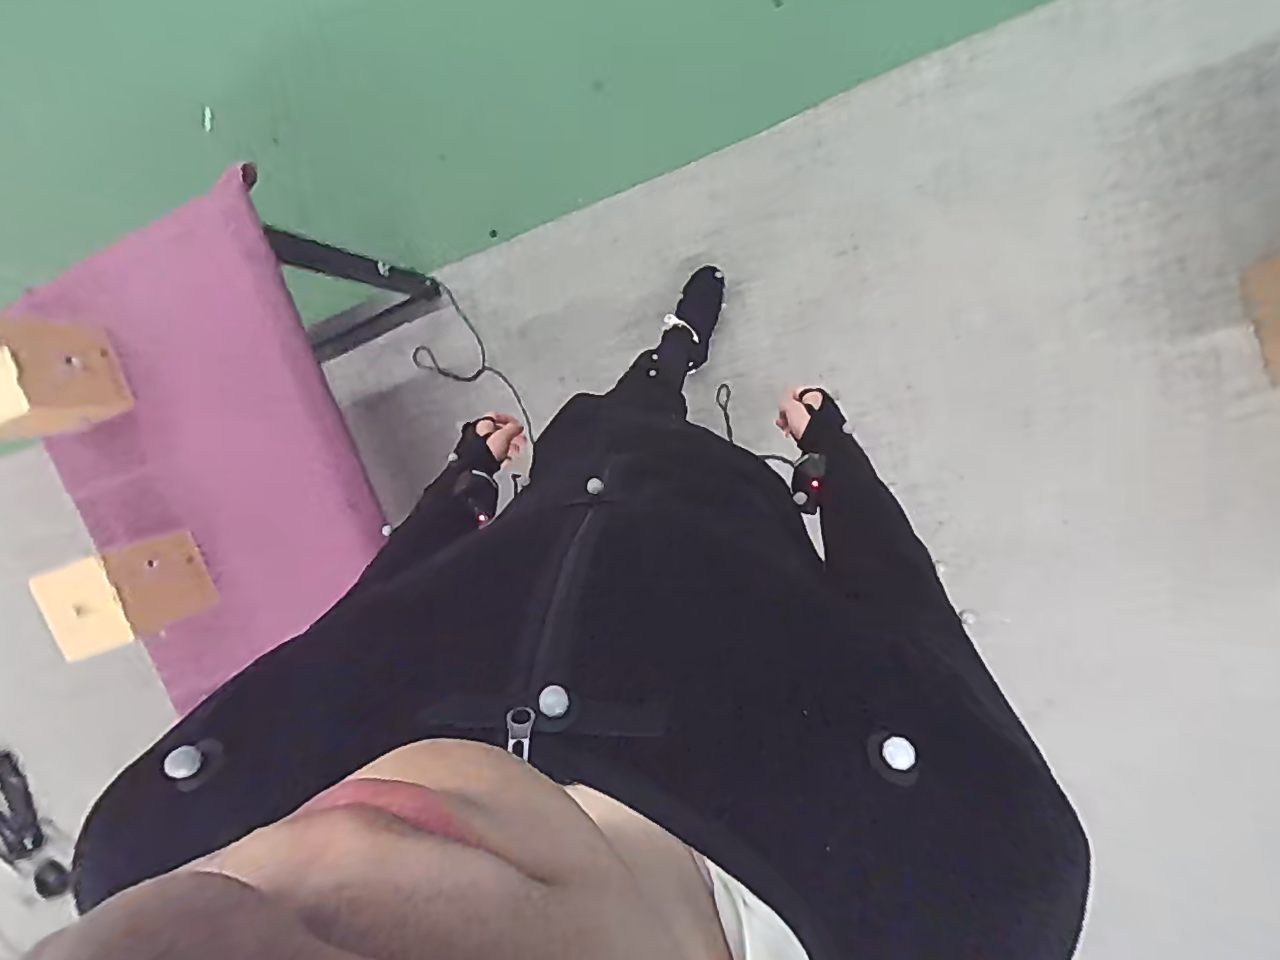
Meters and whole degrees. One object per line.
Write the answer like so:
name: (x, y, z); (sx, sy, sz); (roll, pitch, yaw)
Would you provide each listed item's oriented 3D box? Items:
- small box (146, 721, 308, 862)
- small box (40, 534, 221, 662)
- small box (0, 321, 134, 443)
small box: (-0.805, 0.611, 1.078); (0.179, 0.176, 0.168); (-20, 95, 14)
small box: (-0.955, 0.217, 1.036); (0.179, 0.176, 0.168); (-19, 96, 14)
small box: (-1.083, -0.176, 0.985); (0.179, 0.176, 0.168); (-17, 97, 13)
